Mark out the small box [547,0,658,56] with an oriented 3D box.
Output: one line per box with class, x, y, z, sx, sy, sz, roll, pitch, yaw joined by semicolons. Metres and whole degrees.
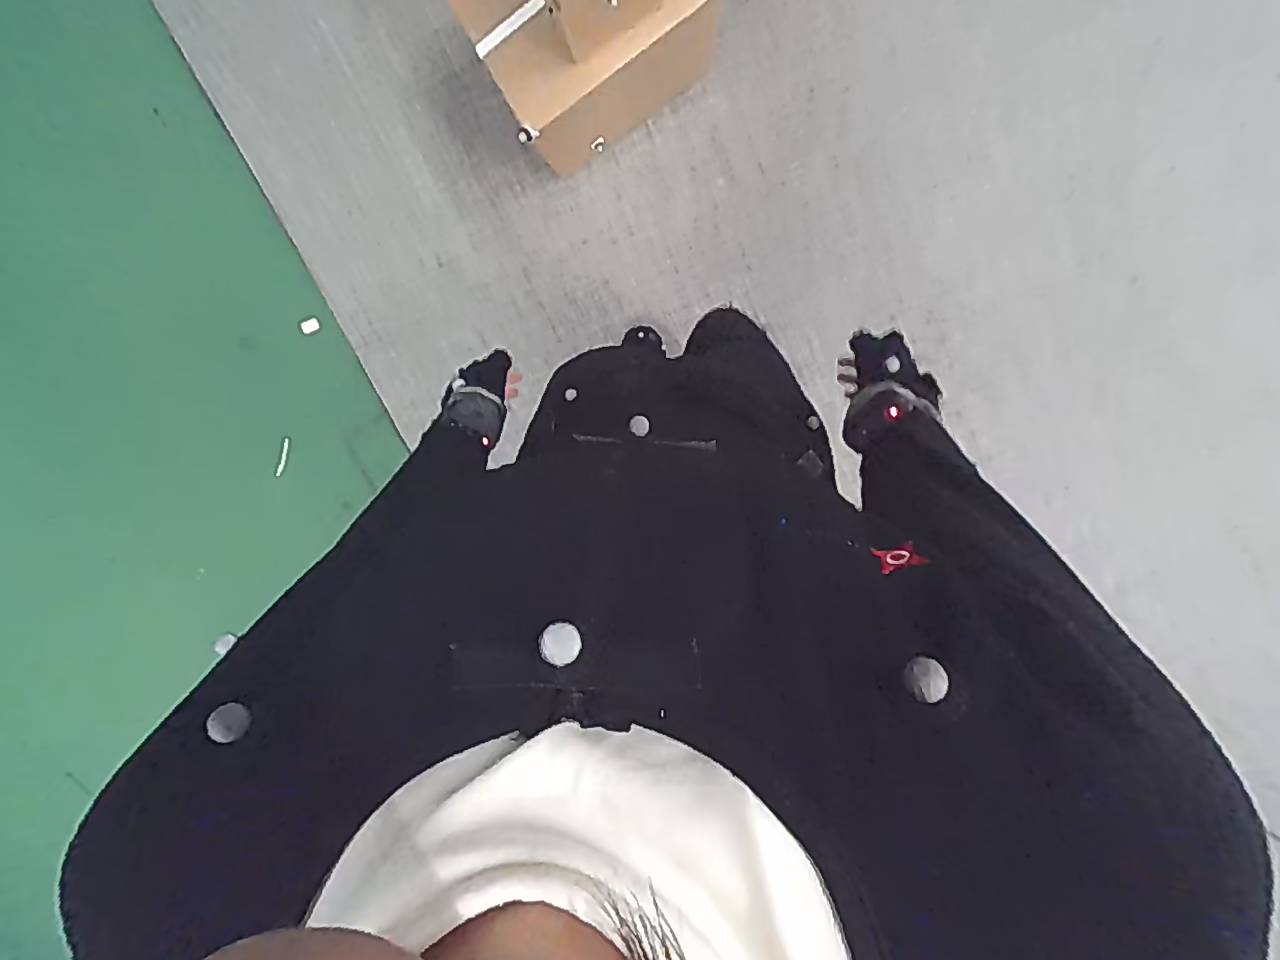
small box;-0.075;-0.795;0.811;0.179;0.176;0.168;-28;104;10
